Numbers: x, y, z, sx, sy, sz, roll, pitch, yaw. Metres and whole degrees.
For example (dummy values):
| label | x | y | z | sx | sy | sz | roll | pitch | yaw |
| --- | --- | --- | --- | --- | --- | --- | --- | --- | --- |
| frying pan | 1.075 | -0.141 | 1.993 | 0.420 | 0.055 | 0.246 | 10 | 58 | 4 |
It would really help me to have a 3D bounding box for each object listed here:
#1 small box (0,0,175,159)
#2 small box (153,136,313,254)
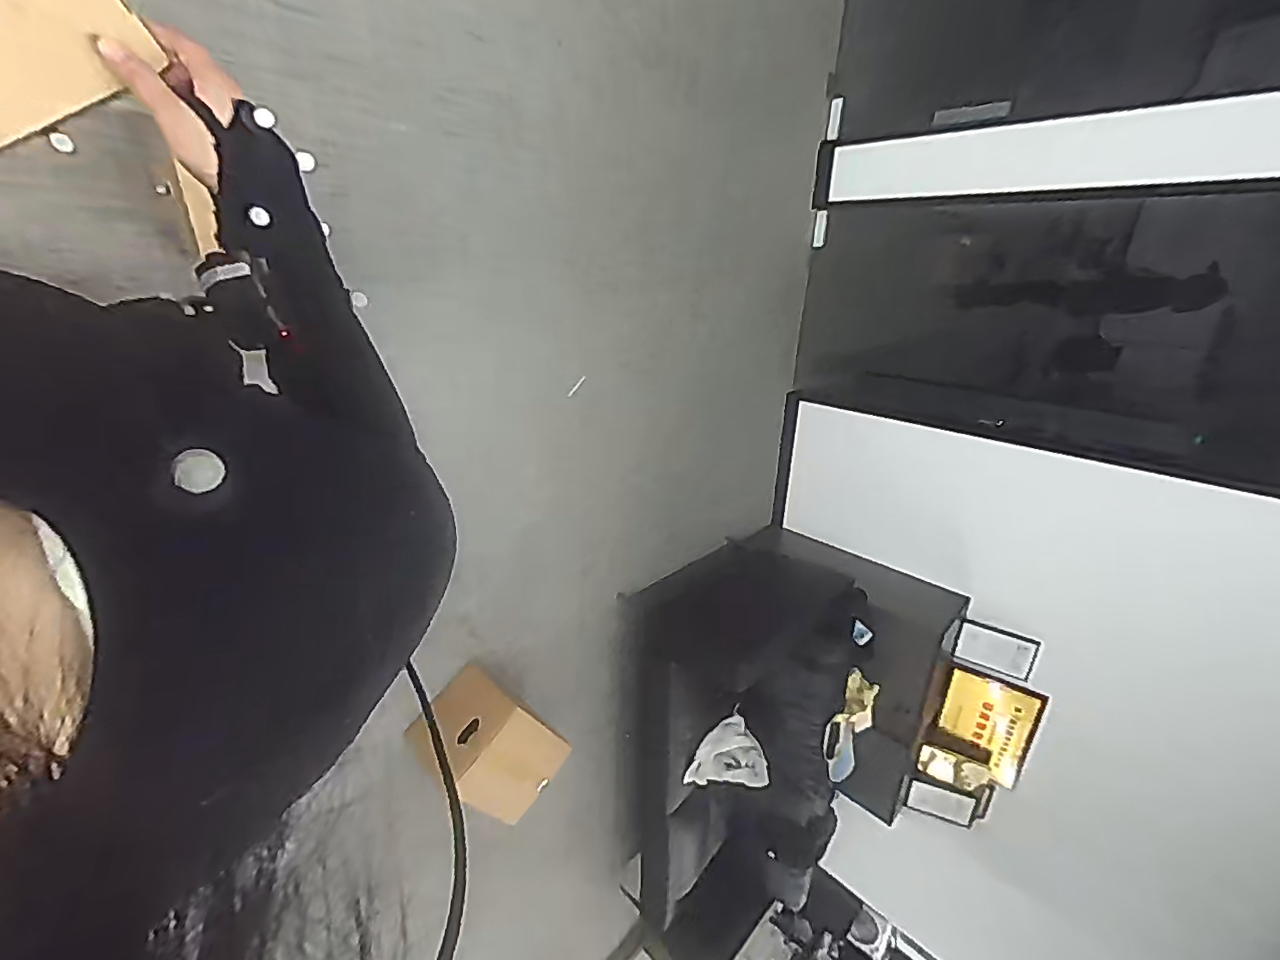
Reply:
| label | x | y | z | sx | sy | sz | roll | pitch | yaw |
| --- | --- | --- | --- | --- | --- | --- | --- | --- | --- |
| small box | -0.481 | -0.322 | 0.362 | 0.179 | 0.176 | 0.168 | -49 | 140 | -21 |
| small box | -0.713 | -0.490 | 0.952 | 0.179 | 0.176 | 0.168 | -21 | 121 | -40 |
